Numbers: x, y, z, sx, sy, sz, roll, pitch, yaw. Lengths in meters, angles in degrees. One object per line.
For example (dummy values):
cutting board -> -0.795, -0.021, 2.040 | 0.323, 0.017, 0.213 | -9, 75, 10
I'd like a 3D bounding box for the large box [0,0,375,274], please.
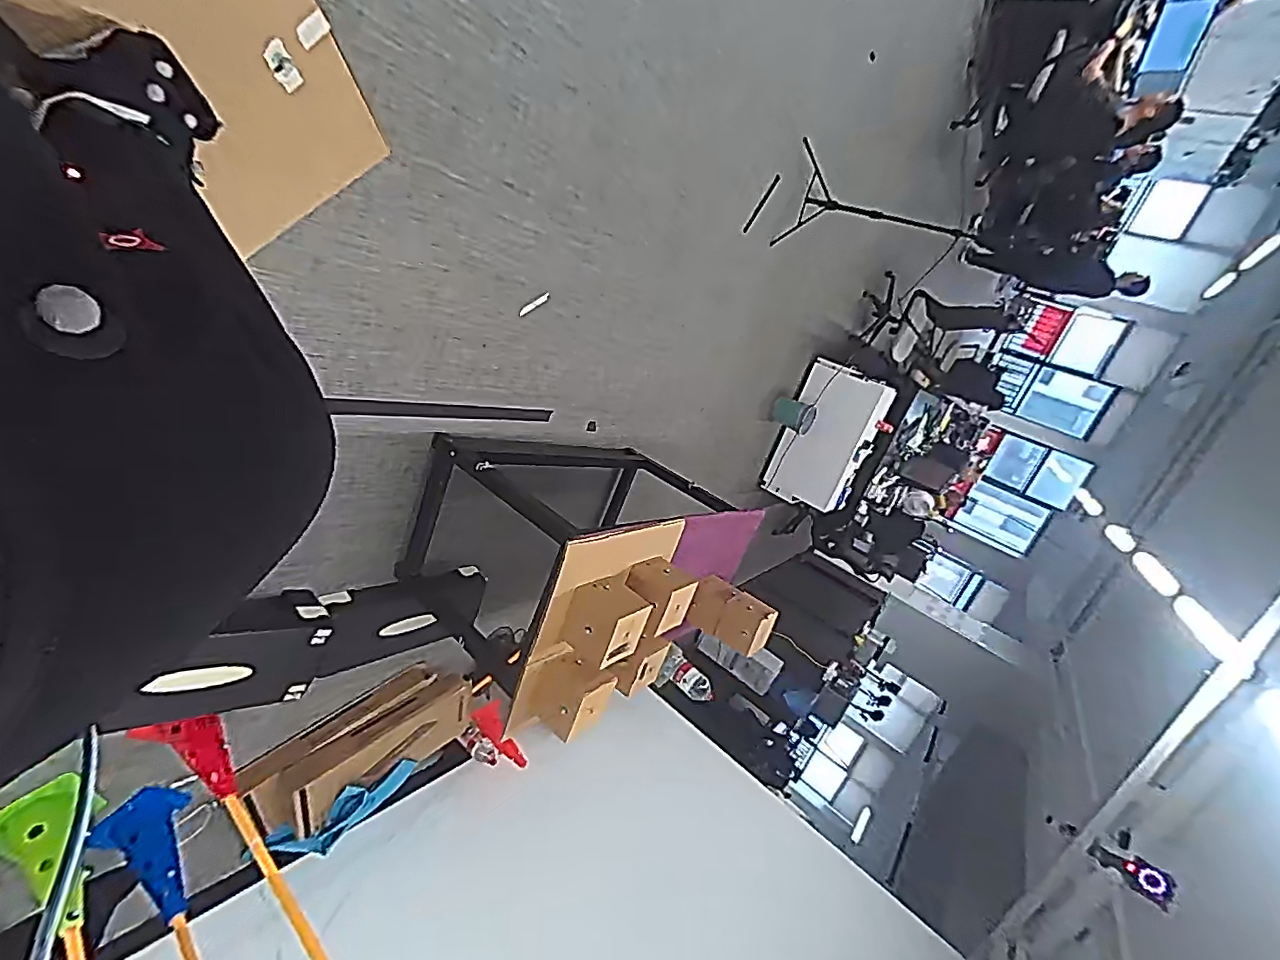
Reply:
large box -> -0.636, -0.488, 0.663 | 0.320, 0.408, 0.320 | -61, 154, -31
